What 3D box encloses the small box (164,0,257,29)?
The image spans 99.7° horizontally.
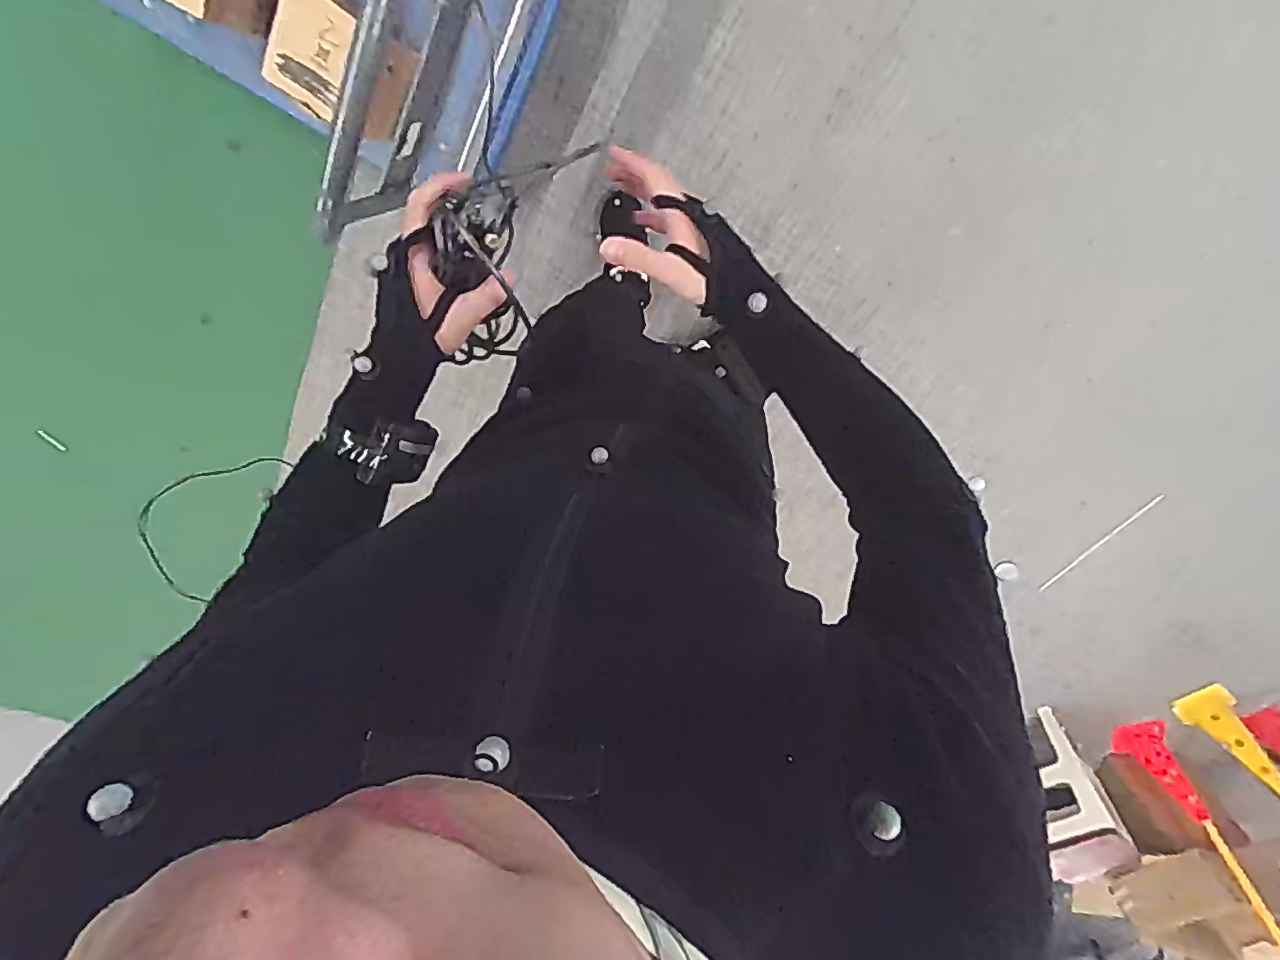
[{"bbox_3d":[-0.785,-0.919,0.927,0.179,0.176,0.168,24,119,-12],"label":"small box"}]
